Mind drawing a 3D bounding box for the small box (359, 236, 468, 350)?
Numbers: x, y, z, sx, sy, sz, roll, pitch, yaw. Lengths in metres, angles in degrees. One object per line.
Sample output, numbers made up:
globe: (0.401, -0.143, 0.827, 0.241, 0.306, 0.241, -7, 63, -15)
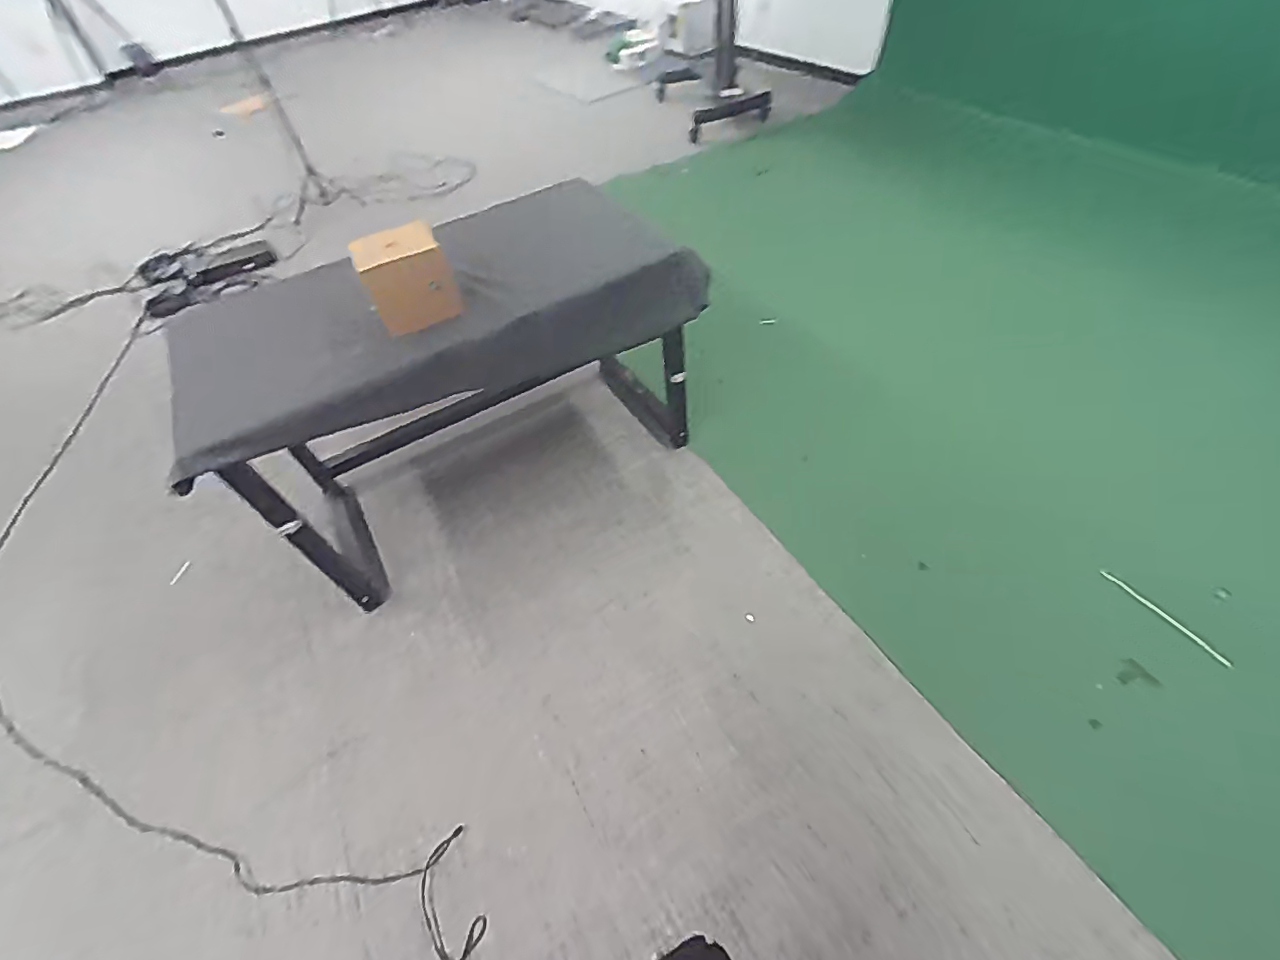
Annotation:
small box: (-0.523, -0.438, 1.269, 0.179, 0.176, 0.168, -26, 50, -13)
